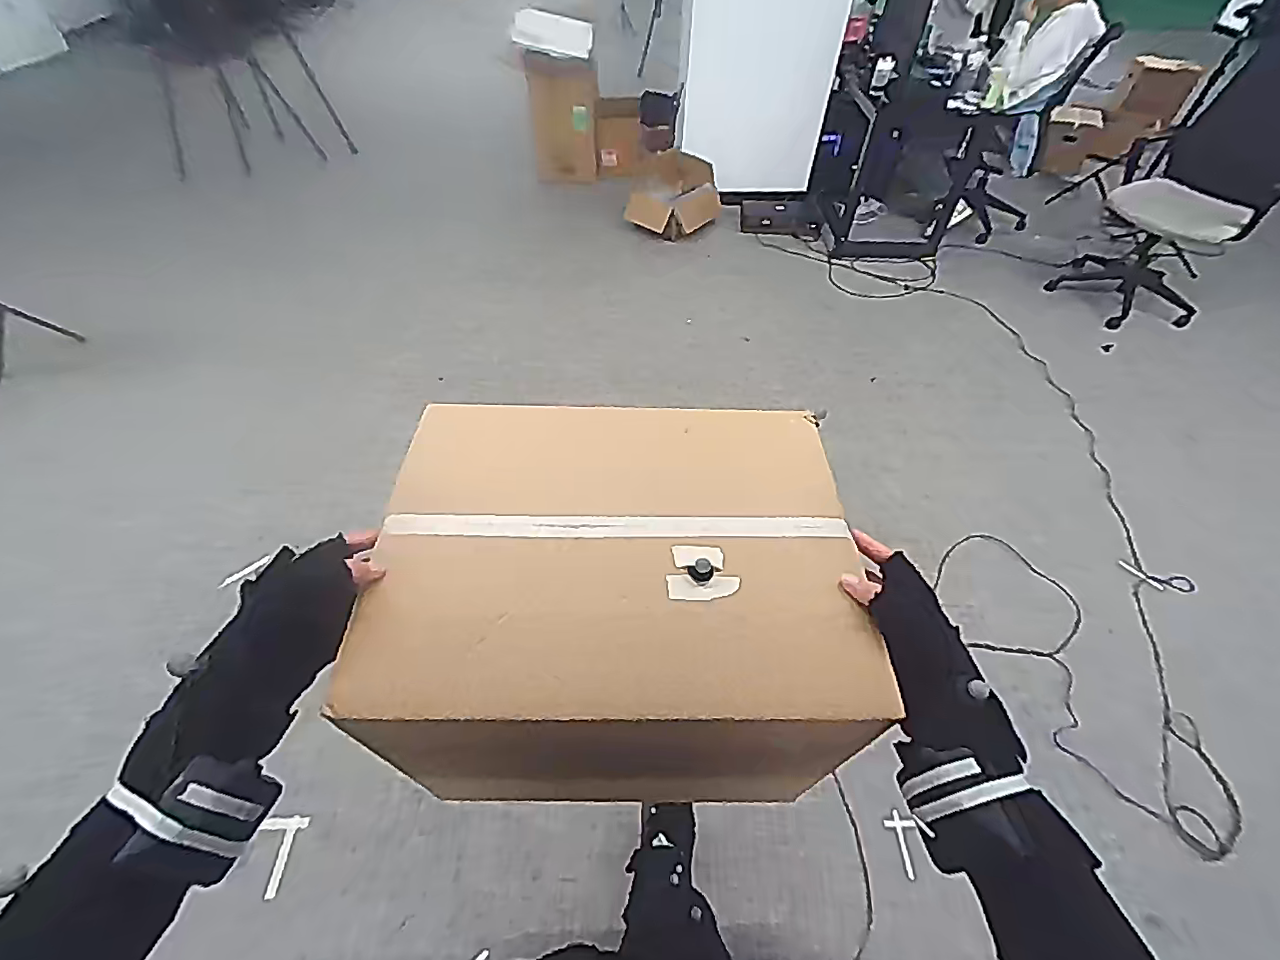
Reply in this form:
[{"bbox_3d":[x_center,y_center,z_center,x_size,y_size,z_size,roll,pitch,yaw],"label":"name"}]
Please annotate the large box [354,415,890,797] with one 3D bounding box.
[{"bbox_3d":[-0.019,0.145,0.602,0.408,0.320,0.320,1,51,-2],"label":"large box"}]
